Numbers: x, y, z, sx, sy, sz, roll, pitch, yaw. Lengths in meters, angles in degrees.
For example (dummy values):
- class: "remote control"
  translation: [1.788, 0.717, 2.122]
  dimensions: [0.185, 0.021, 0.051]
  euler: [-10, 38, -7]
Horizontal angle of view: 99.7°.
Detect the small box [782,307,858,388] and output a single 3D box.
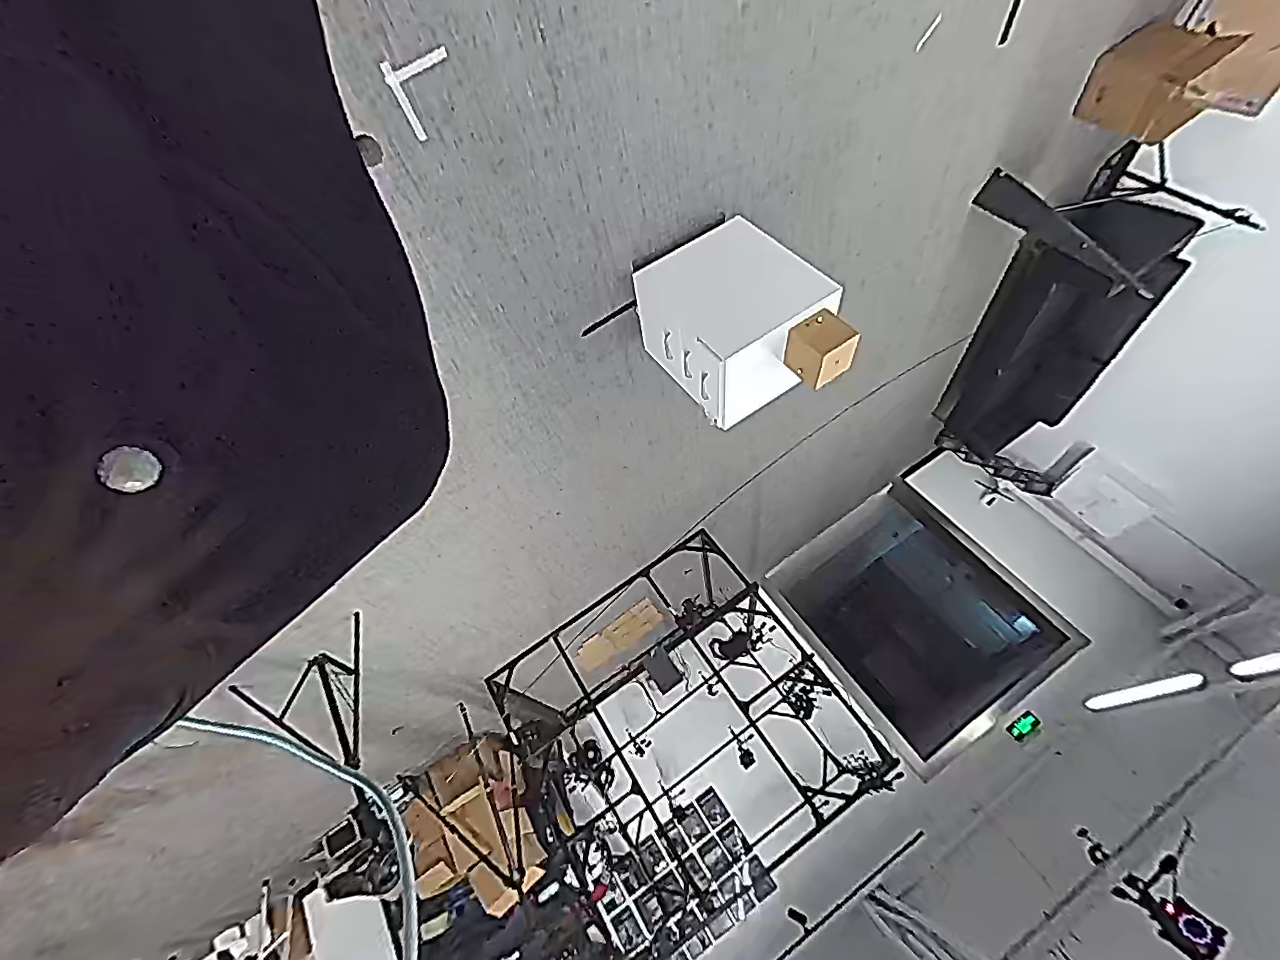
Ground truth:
- class: "small box"
  translation: [0.616, -0.461, 1.874]
  dimensions: [0.168, 0.176, 0.179]
  euler: [-33, 151, -12]
